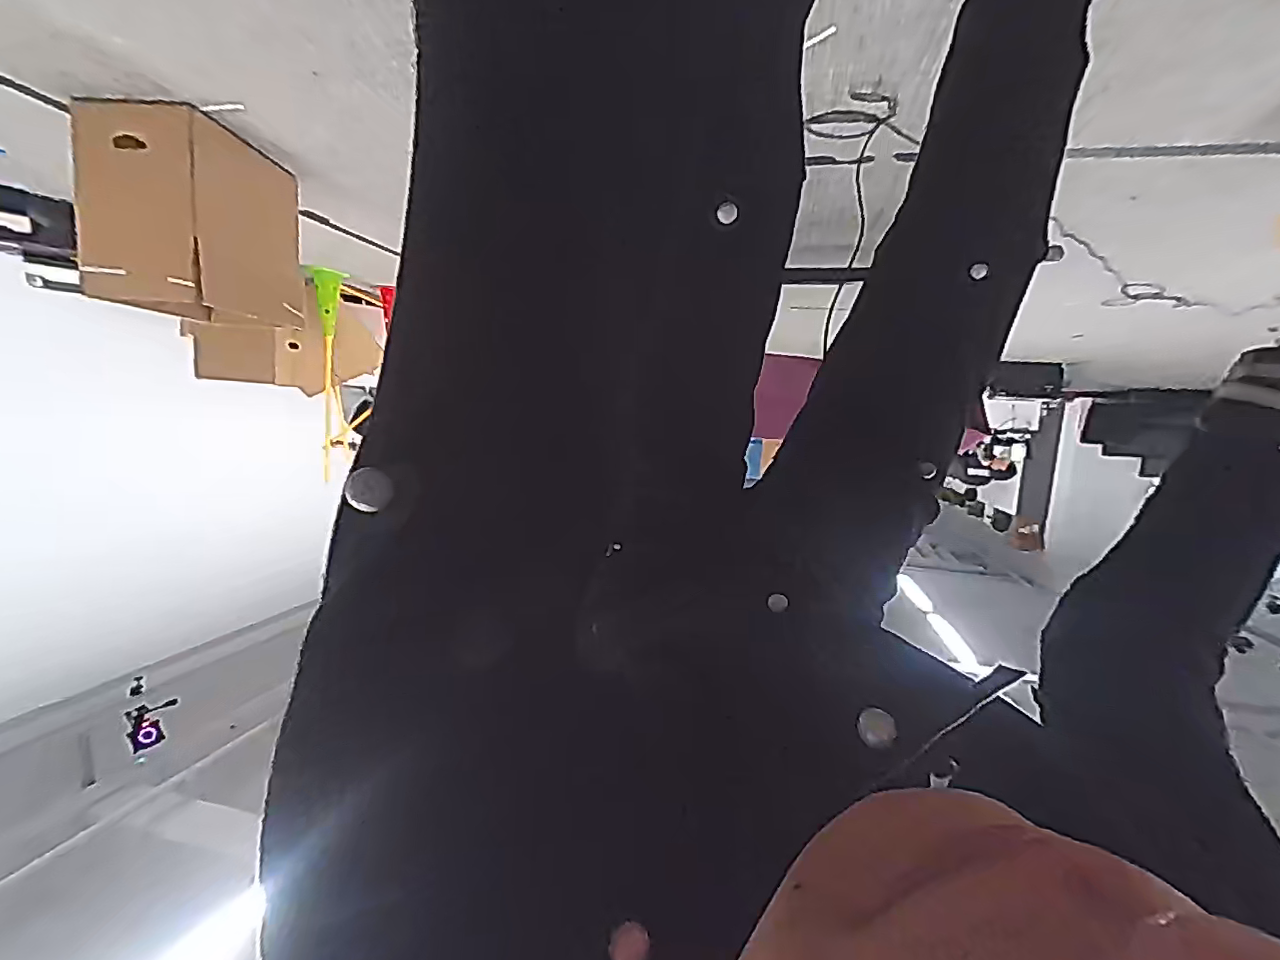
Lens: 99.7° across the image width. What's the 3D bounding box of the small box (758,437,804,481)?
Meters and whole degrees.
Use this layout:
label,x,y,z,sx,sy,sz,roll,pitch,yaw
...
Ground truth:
label,x,y,z,sx,sy,sz,roll,pitch,yaw
small box,0.597,-0.094,2.282,0.168,0.176,0.179,7,-172,21
